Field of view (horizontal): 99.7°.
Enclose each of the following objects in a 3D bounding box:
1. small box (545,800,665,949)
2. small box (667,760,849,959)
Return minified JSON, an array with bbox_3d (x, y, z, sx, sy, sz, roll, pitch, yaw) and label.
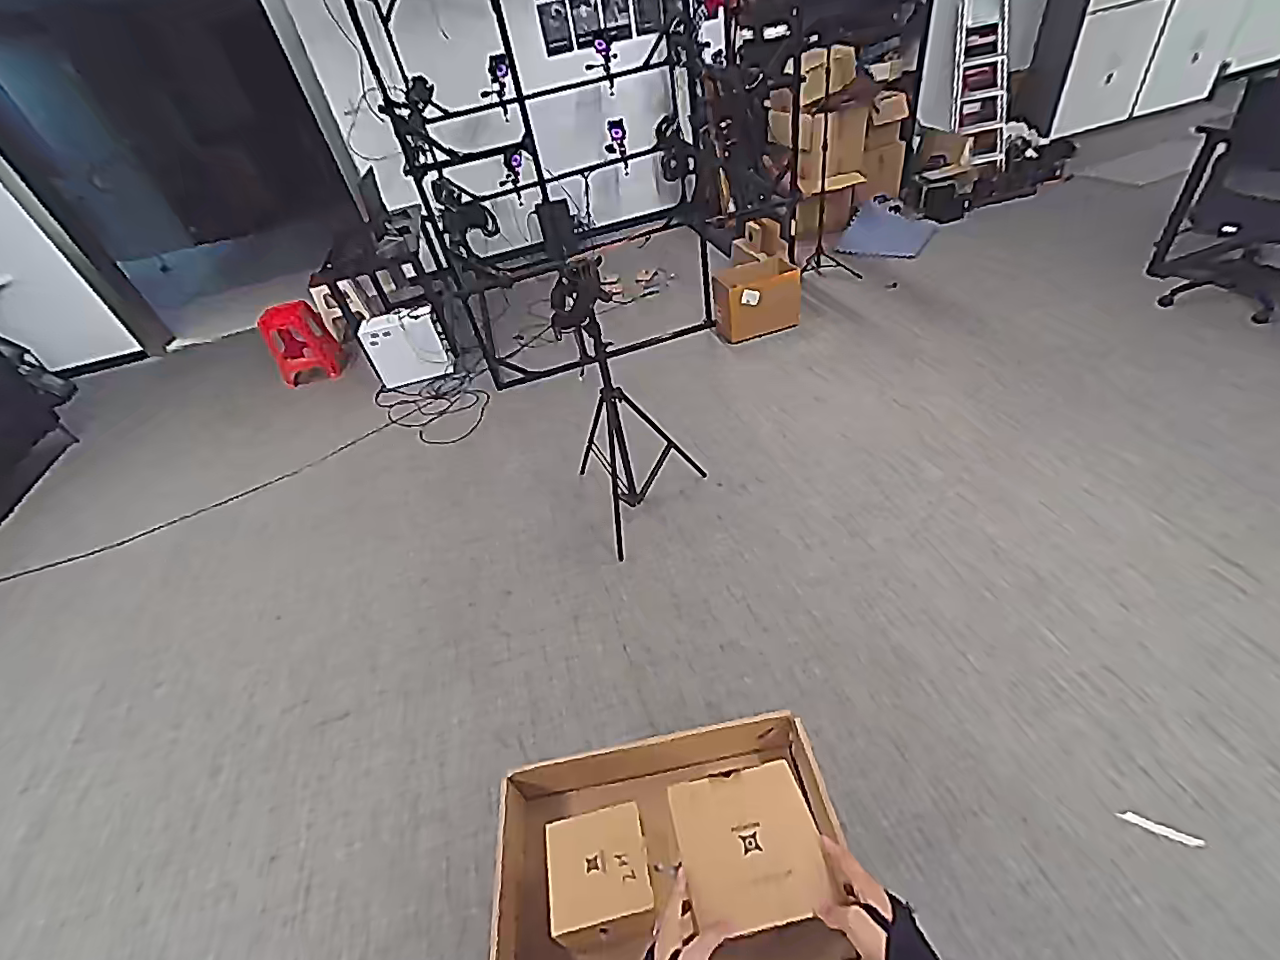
[{"bbox_3d":[-0.064,0.720,0.985,0.179,0.176,0.168,-14,41,-3],"label":"small box"},{"bbox_3d":[0.131,0.490,0.669,0.168,0.176,0.179,-8,28,-7],"label":"small box"}]
